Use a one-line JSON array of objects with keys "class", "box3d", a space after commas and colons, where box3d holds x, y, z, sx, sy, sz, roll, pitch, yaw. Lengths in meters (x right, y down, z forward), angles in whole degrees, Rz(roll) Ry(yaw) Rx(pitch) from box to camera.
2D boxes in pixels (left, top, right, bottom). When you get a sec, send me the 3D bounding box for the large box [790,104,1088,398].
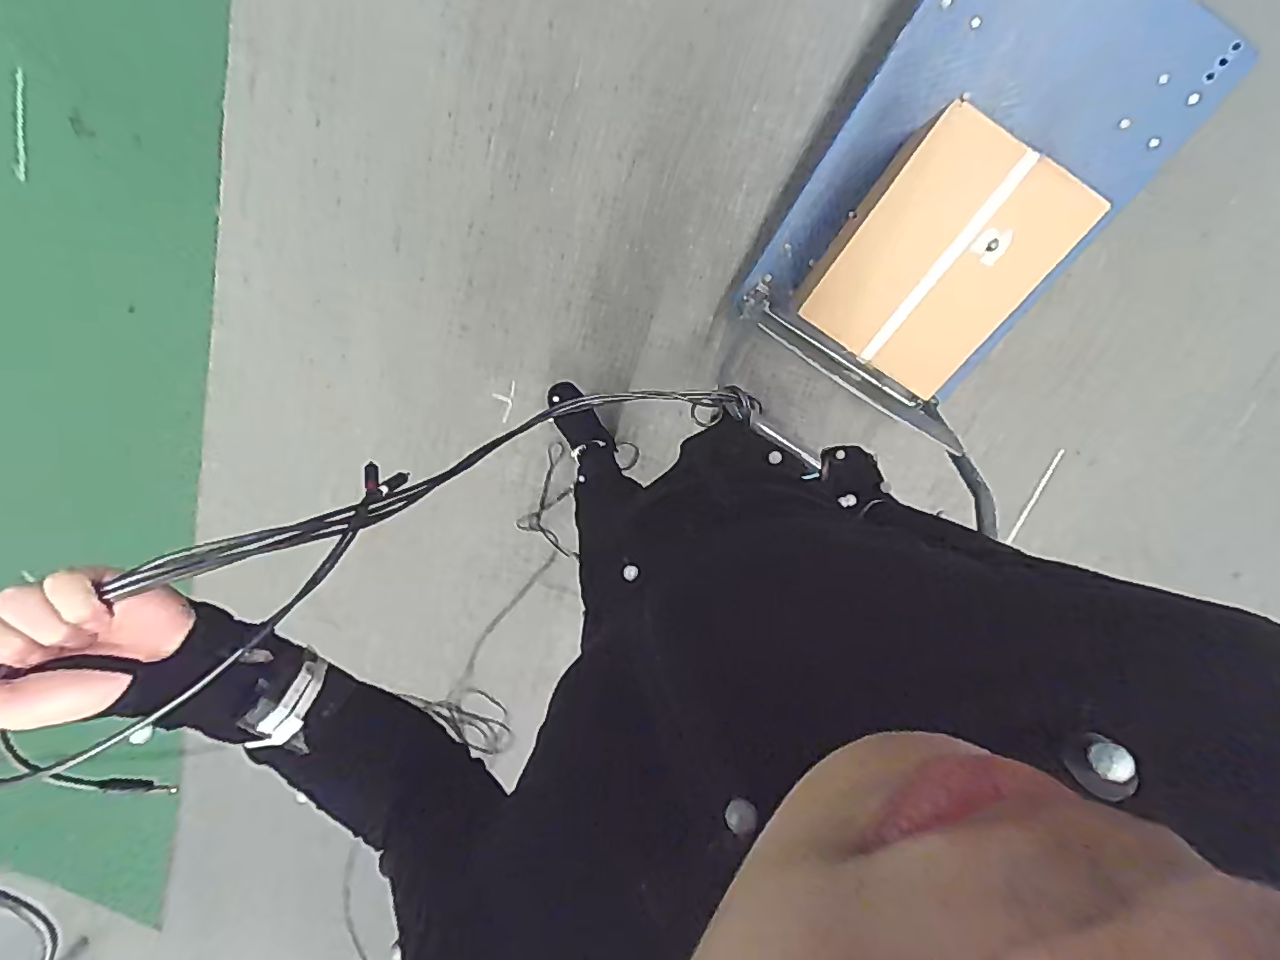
[{"class": "large box", "box3d": [0.555, -0.444, 1.112, 0.320, 0.320, 0.408, 34, 116, -3]}]
